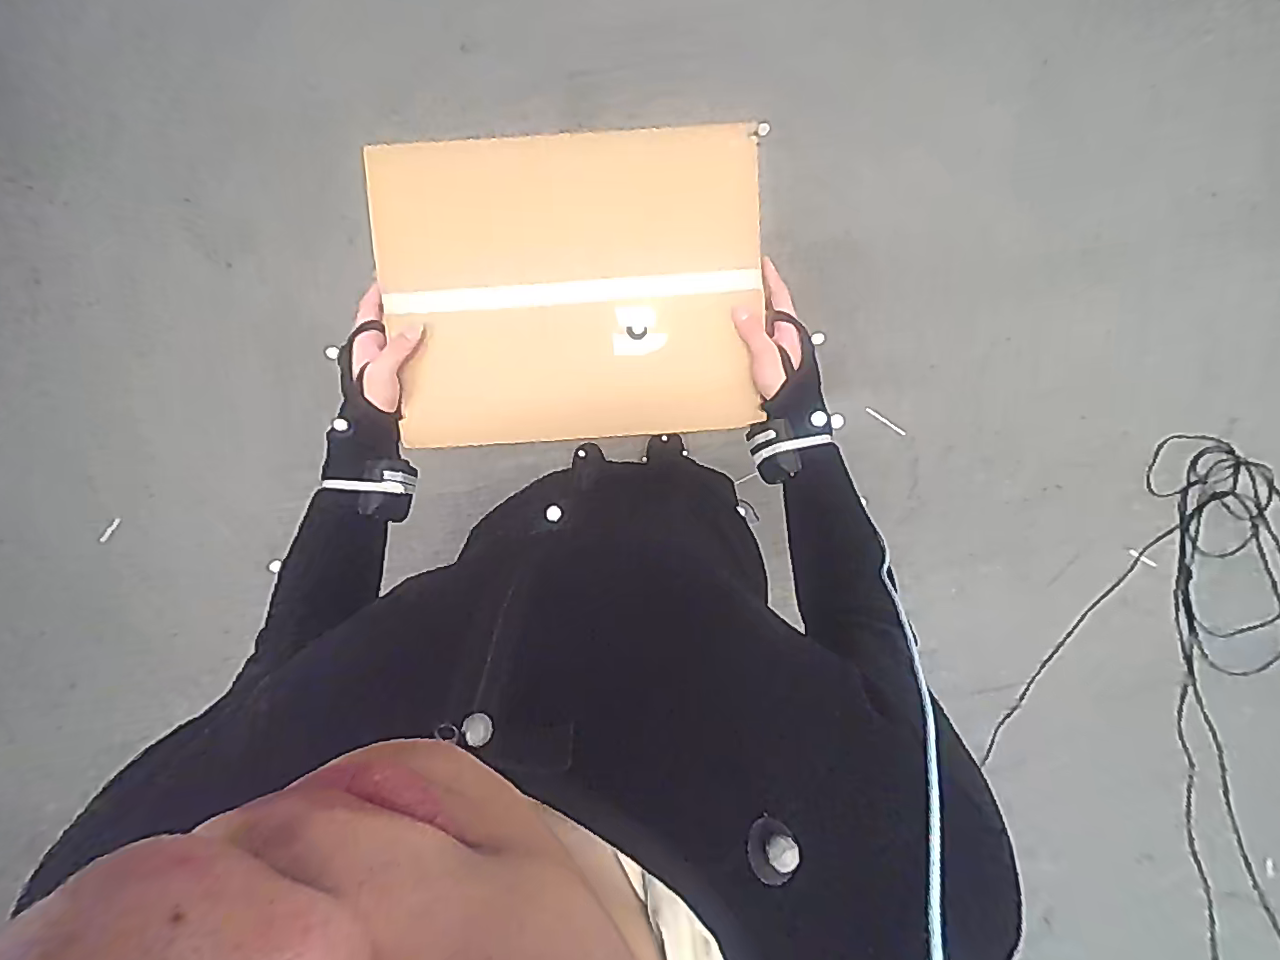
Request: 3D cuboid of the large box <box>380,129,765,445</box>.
[{"bbox_3d":[-0.072,-0.224,0.735,0.408,0.320,0.320,-4,98,-1],"label":"large box"}]
